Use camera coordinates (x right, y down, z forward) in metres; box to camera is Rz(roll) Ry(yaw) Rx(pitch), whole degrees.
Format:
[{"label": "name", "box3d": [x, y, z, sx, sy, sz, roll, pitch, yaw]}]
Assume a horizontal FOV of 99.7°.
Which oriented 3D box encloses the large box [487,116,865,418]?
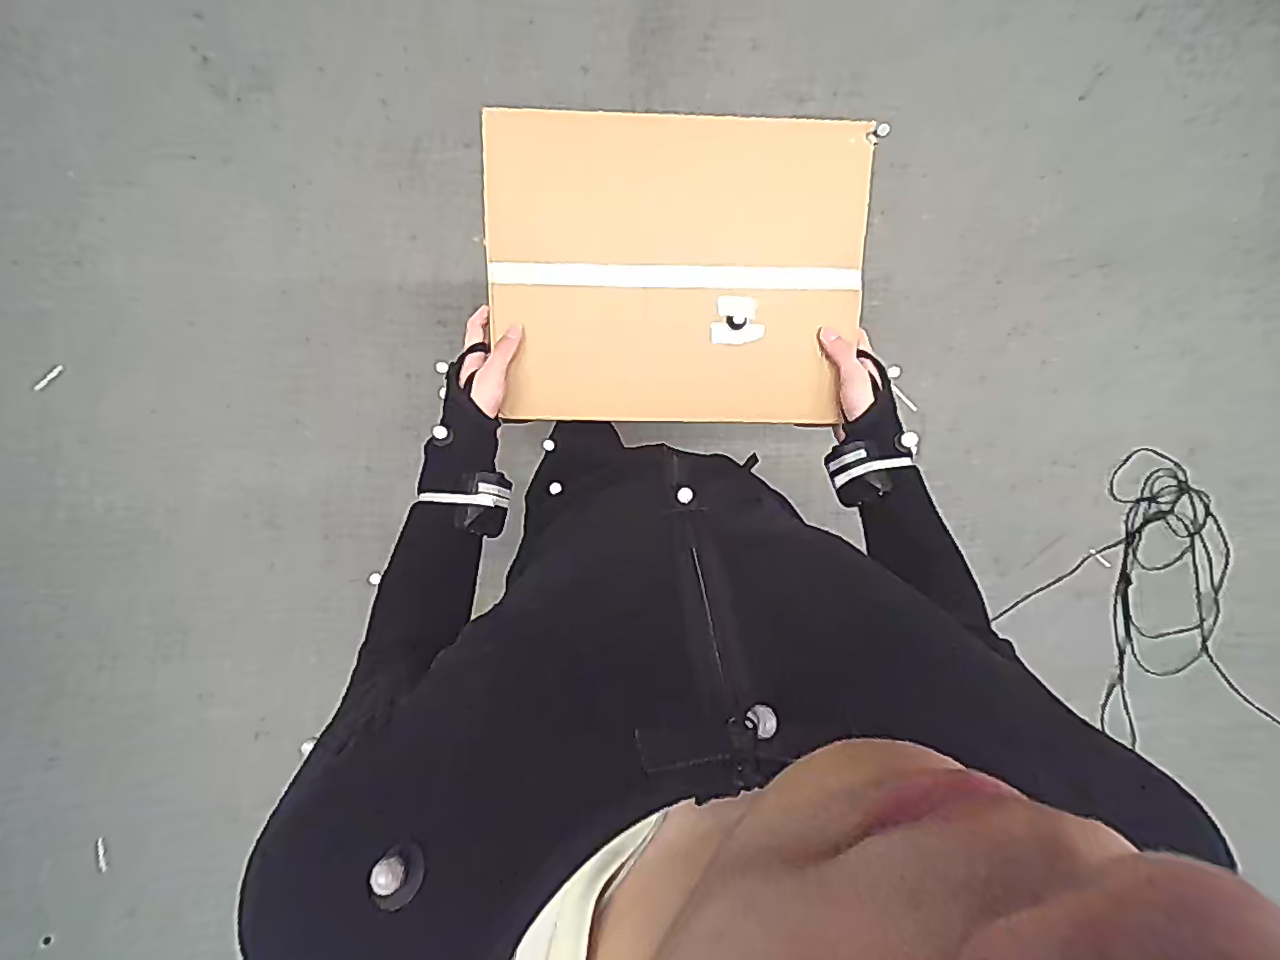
[{"label": "large box", "box3d": [0.032, -0.254, 0.737, 0.408, 0.320, 0.320, 0, 102, -3]}]
